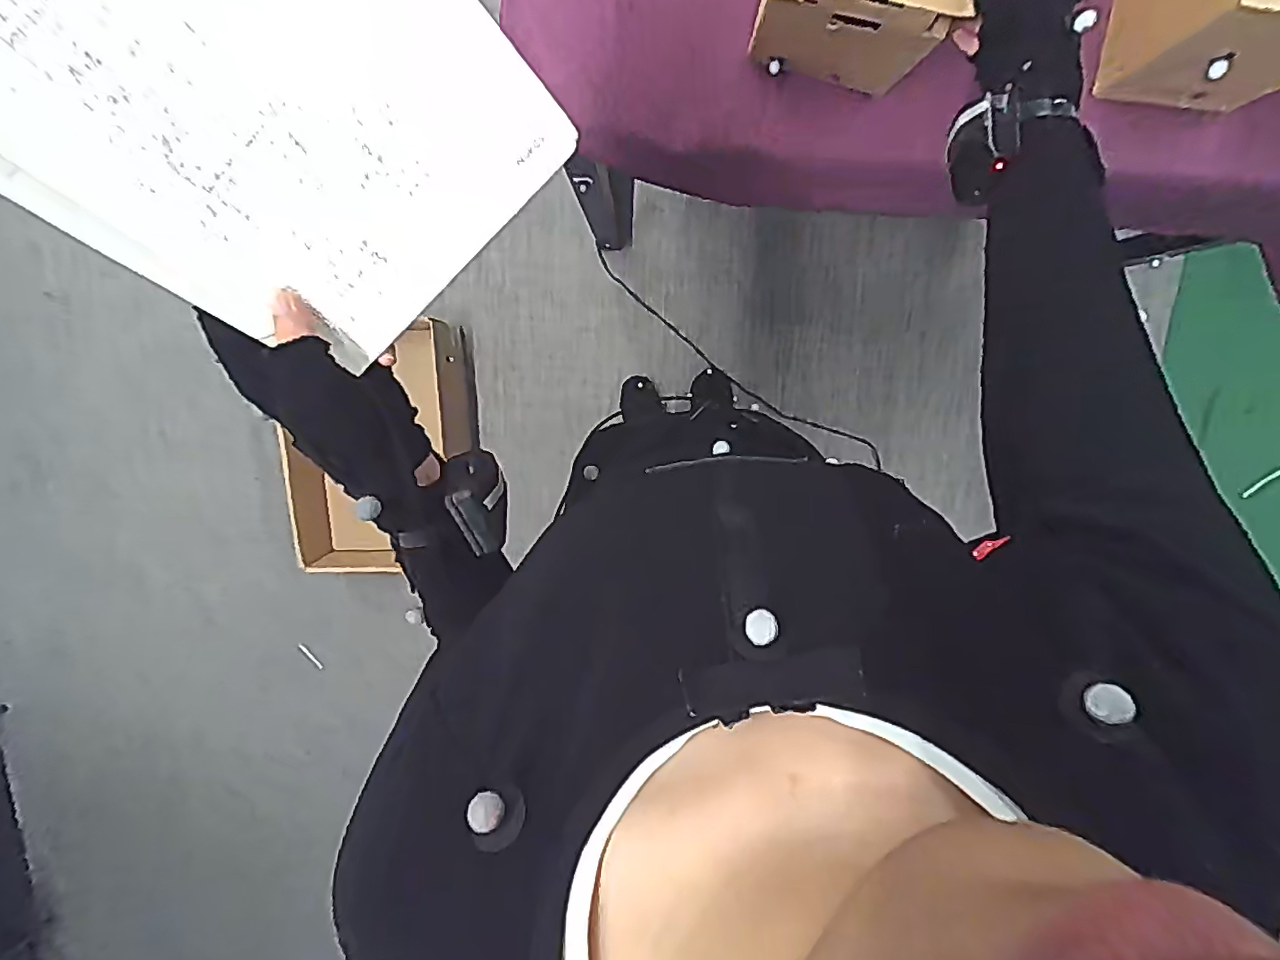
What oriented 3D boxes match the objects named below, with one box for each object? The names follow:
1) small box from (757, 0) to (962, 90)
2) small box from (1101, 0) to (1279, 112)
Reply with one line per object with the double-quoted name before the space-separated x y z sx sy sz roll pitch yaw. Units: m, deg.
"small box" 0.221 -0.516 0.523 0.168 0.176 0.179 14 110 -2
"small box" 0.618 -0.501 0.537 0.168 0.176 0.179 7 102 0
